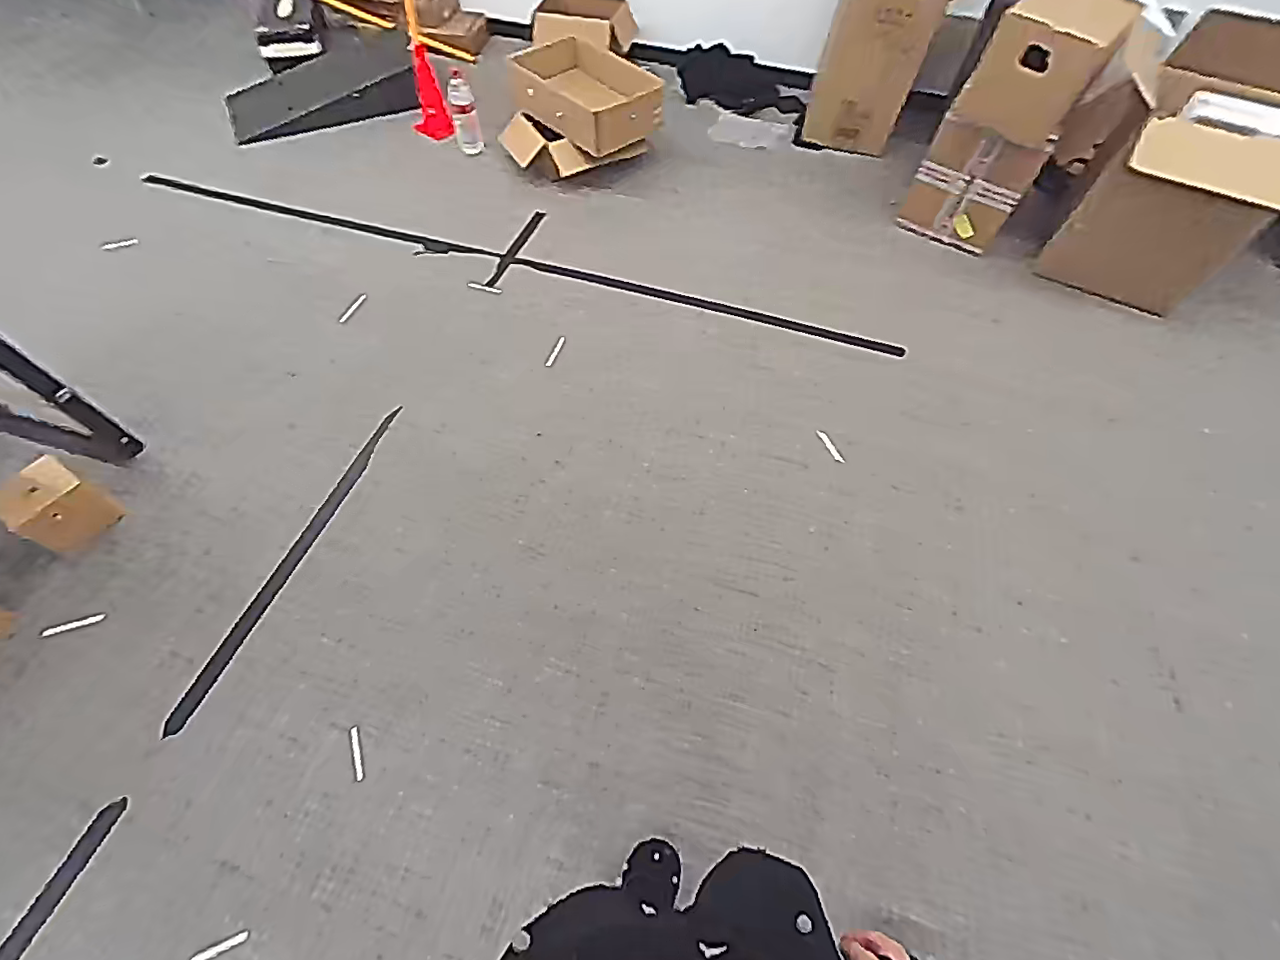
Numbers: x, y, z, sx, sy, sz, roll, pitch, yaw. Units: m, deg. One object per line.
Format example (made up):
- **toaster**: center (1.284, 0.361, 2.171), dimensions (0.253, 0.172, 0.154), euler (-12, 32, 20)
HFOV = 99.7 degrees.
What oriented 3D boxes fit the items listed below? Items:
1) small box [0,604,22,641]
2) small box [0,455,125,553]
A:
- **small box**: center (-1.723, 0.354, 1.325), dimensions (0.179, 0.176, 0.168), euler (16, 60, 6)
- **small box**: center (-1.600, 0.069, 1.501), dimensions (0.168, 0.176, 0.179), euler (31, 64, 15)
